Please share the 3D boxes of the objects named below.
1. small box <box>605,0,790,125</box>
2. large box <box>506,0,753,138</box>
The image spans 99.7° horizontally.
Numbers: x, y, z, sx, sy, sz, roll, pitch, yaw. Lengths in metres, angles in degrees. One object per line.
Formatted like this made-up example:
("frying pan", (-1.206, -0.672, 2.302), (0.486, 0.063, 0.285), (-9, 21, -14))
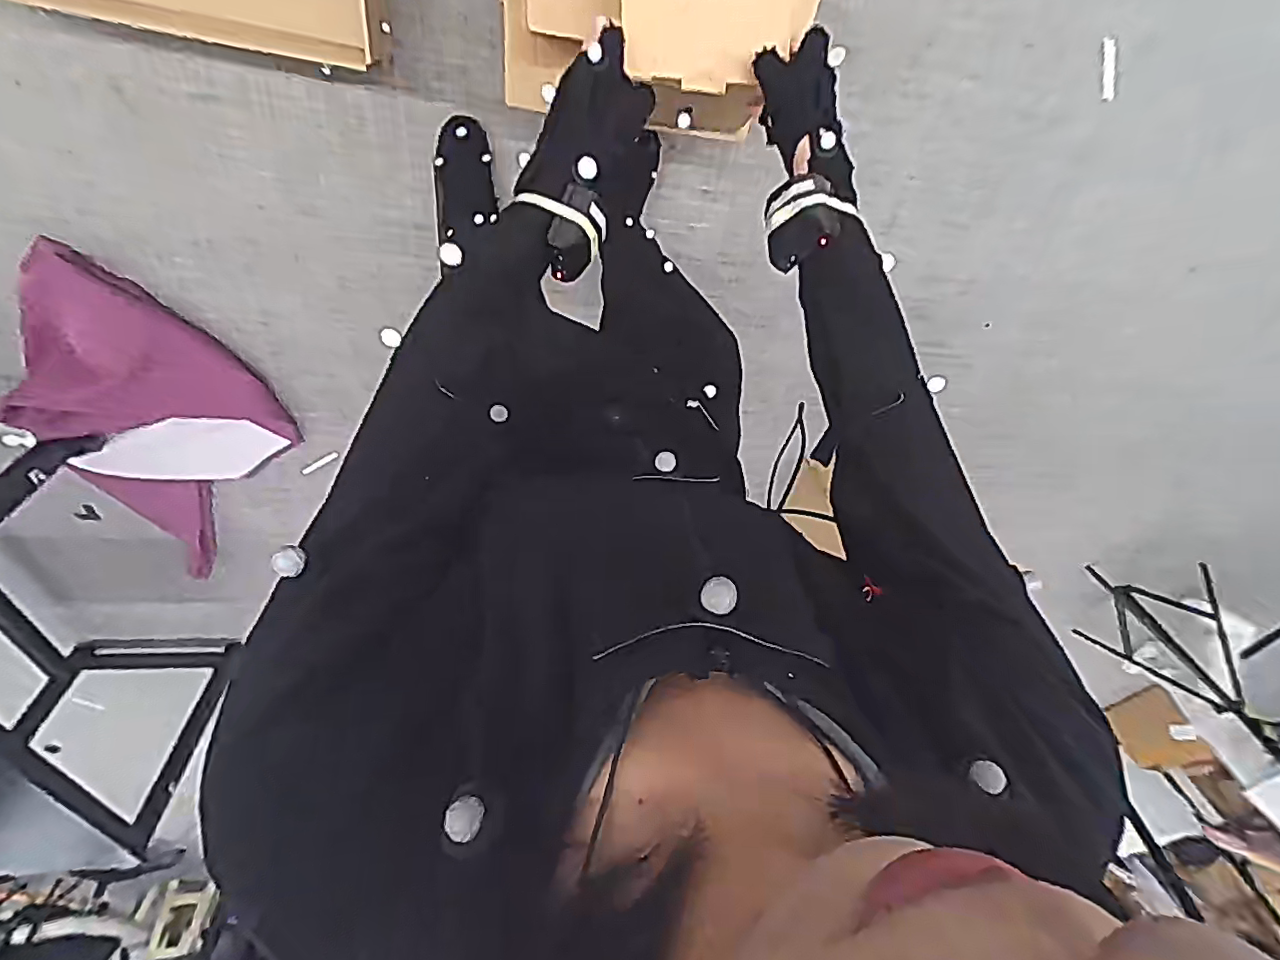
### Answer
("small box", (0.052, -0.494, 0.566), (0.168, 0.176, 0.179), (0, 111, -8))
("large box", (-0.015, -0.801, 0.910), (0.408, 0.320, 0.320), (1, 131, -11))
